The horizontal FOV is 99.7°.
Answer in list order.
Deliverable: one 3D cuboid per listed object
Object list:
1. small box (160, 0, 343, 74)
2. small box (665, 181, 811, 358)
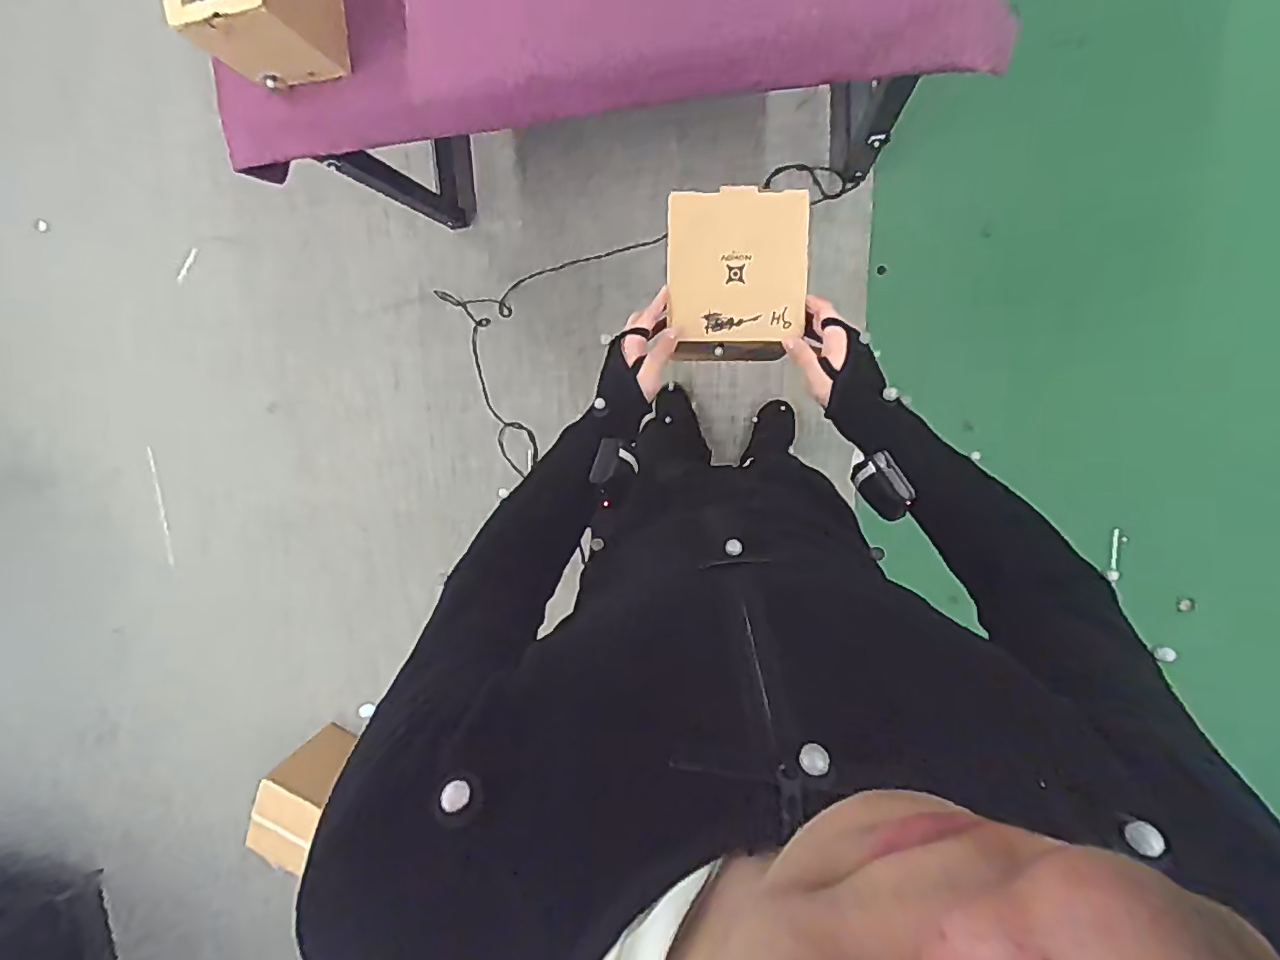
[{"bbox_3d":[-0.571,-0.739,0.800,0.168,0.176,0.179,0,99,11],"label":"small box"},{"bbox_3d":[0.118,-0.264,0.710,0.168,0.176,0.179,1,94,4],"label":"small box"}]
